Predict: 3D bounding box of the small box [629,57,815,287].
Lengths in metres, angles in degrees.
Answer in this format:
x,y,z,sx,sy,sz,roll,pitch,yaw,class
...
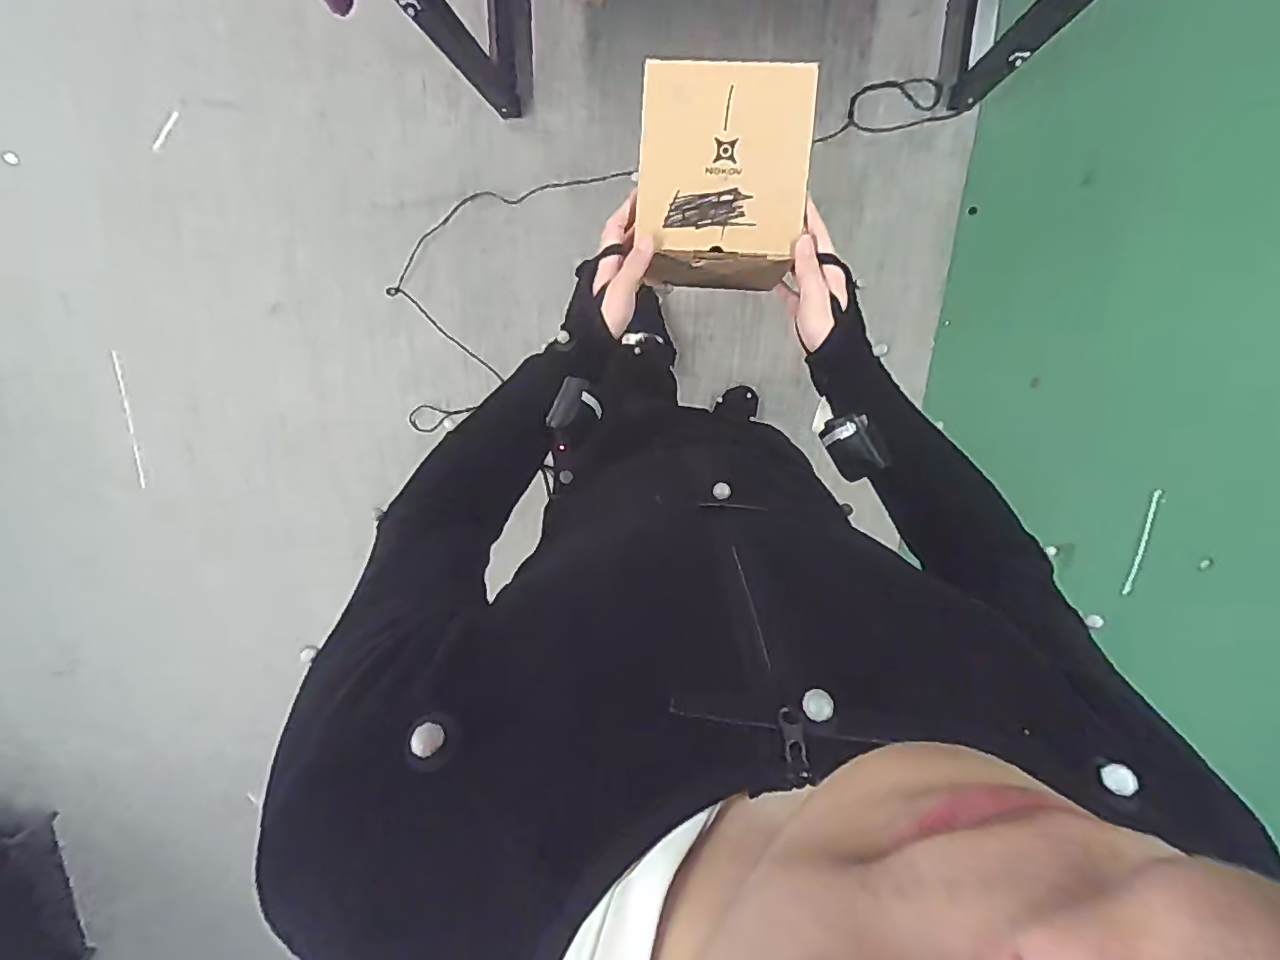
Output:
x,y,z,sx,sy,sz,roll,pitch,yaw,class
0.083,-0.320,0.598,0.168,0.176,0.179,4,98,4,small box

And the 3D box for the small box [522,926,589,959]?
x,y,z,sx,sy,sz,roll,pitch,yaw,class
-0.241,1.401,1.518,0.179,0.176,0.168,-3,106,8,small box
